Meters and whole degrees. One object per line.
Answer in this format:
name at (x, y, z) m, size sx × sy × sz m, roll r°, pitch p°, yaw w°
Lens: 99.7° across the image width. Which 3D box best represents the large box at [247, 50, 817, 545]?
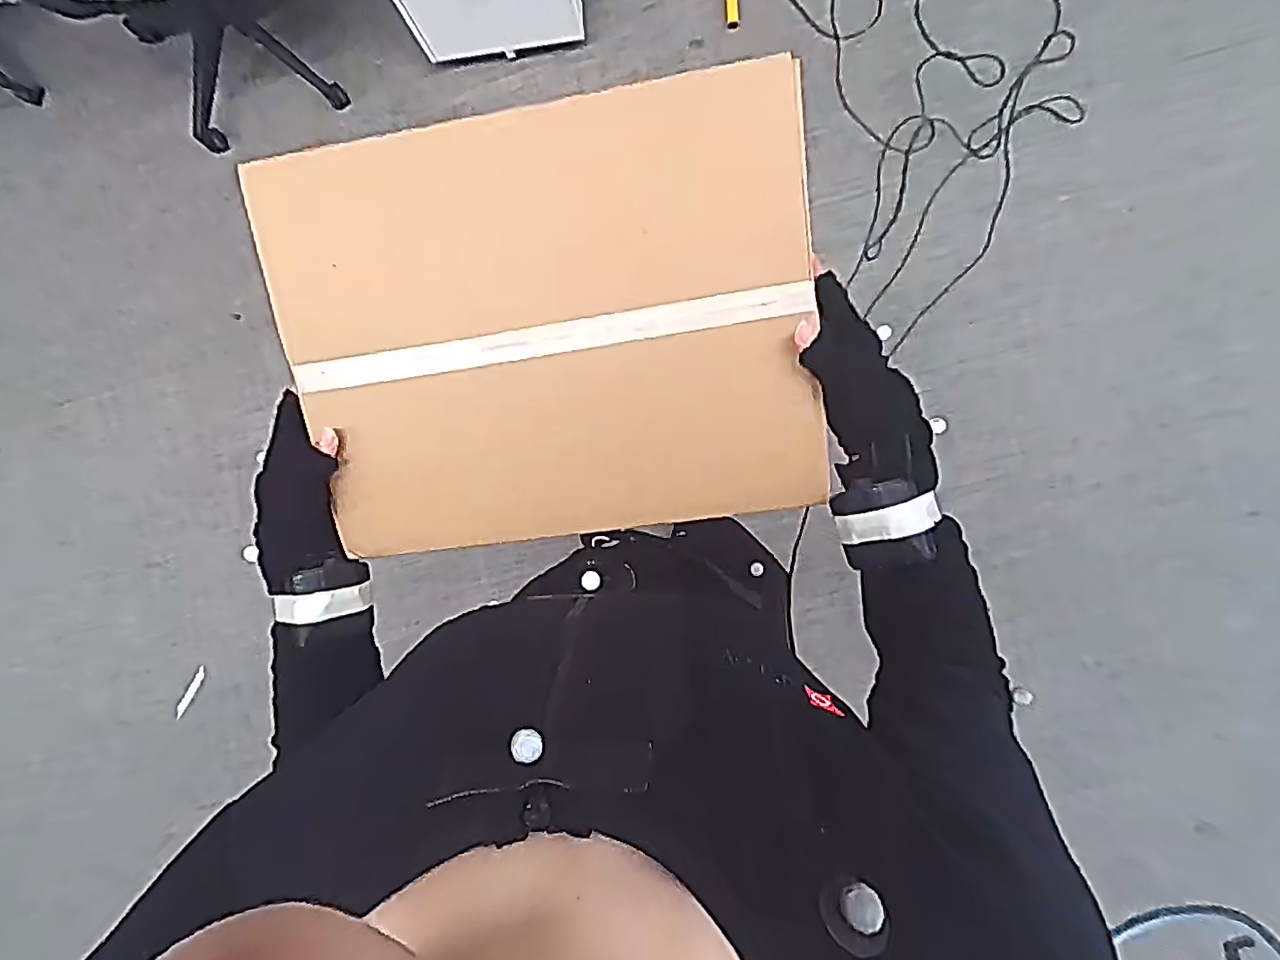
large box at (-0.066, -0.153, 0.560) m, size 0.408 × 0.320 × 0.320 m, roll -7°, pitch 102°, yaw 5°
